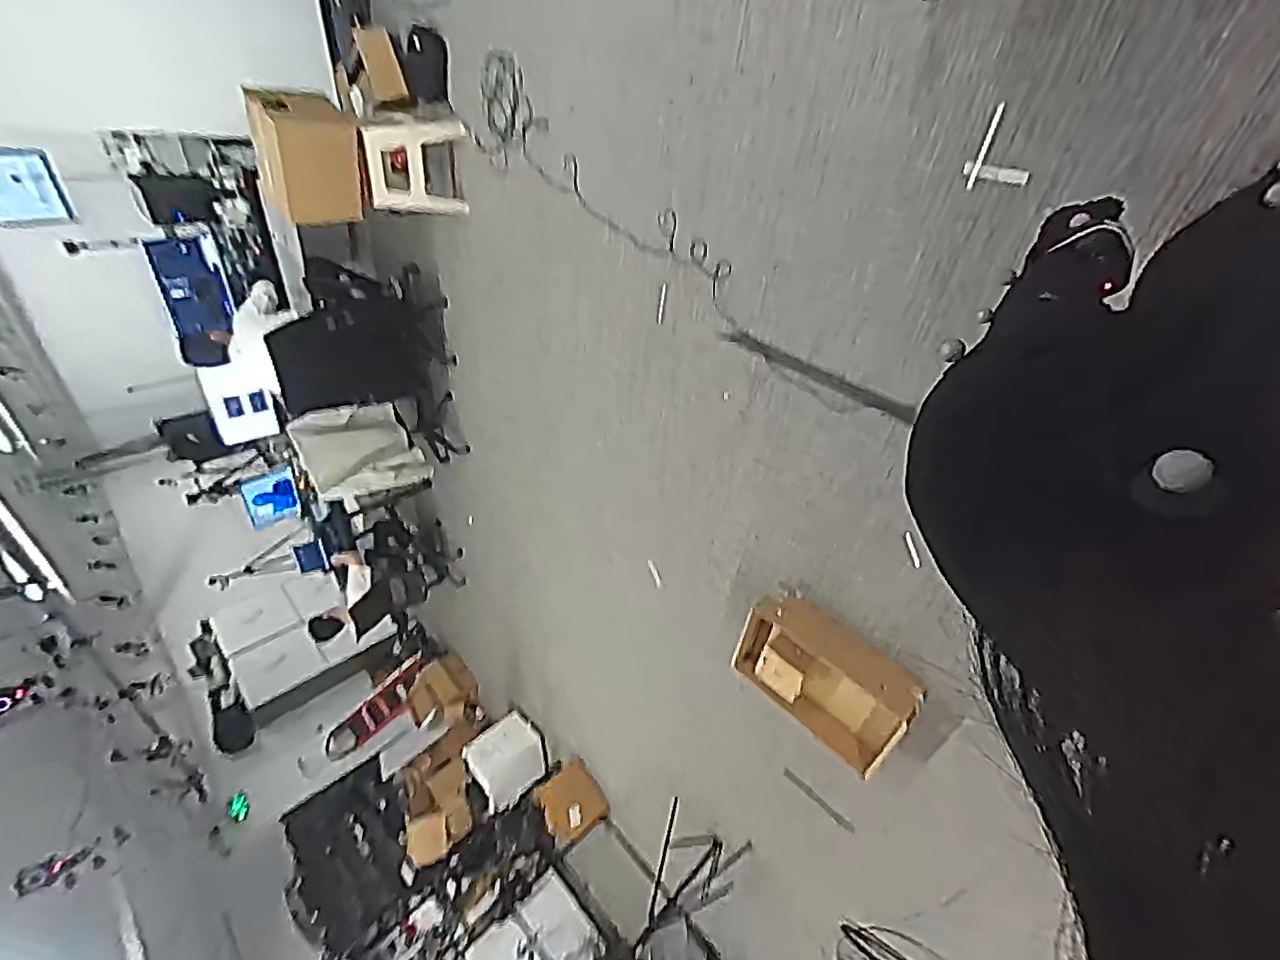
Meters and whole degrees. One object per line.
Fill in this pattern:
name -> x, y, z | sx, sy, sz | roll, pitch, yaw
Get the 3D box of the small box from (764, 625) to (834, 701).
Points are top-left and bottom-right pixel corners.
small box -> 0.604, 0.687, 2.048 | 0.179, 0.176, 0.168 | 34, 133, 30
